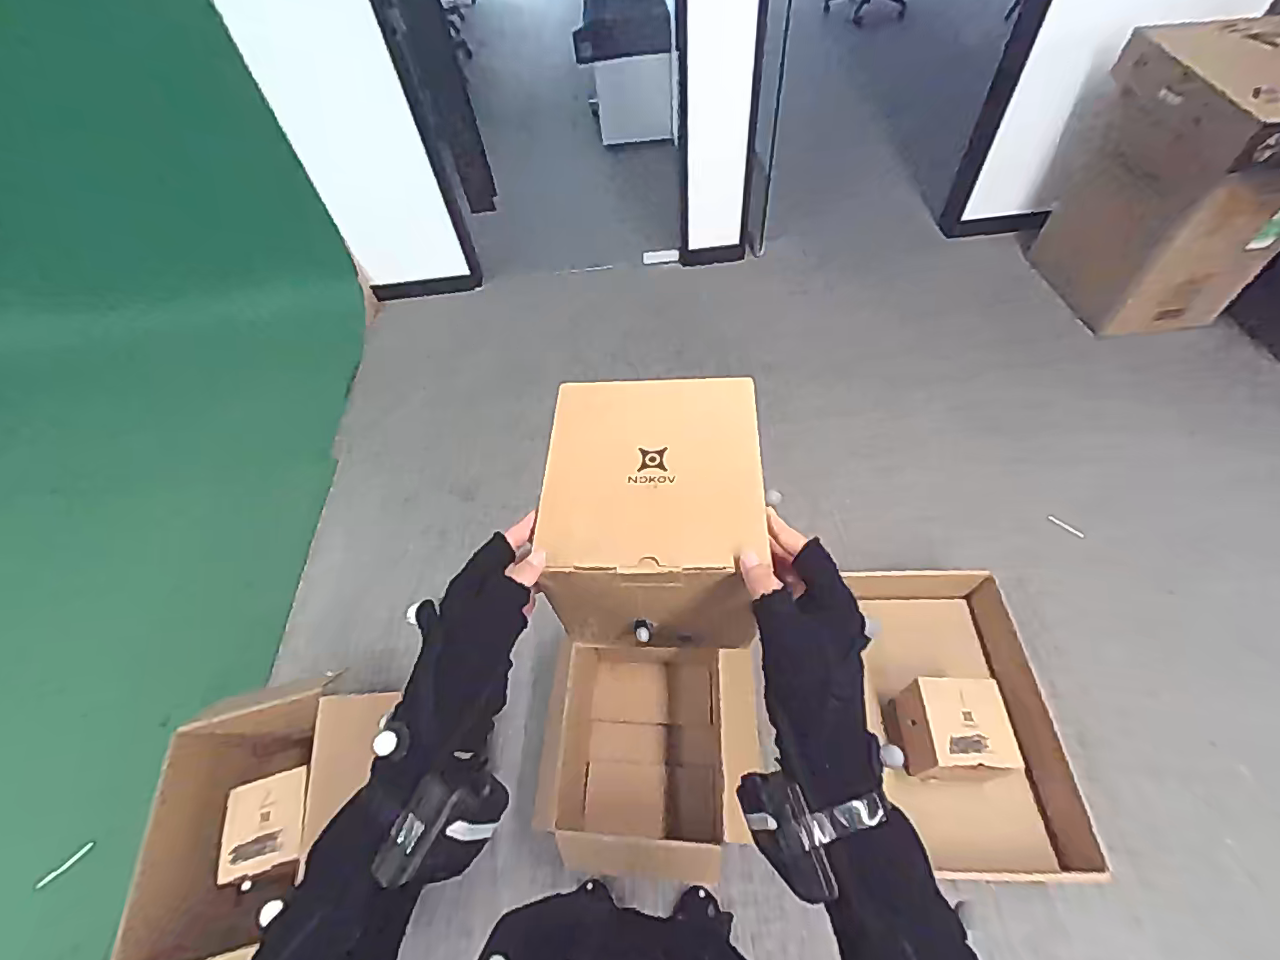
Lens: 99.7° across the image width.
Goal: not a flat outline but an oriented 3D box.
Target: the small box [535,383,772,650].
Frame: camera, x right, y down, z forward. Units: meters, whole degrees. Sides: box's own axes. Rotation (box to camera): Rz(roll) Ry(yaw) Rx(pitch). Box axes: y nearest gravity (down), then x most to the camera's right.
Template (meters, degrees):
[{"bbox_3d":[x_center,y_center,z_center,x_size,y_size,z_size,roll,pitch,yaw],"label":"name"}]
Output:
[{"bbox_3d":[0.018,0.036,0.478,0.168,0.176,0.179,-1,56,6],"label":"small box"}]

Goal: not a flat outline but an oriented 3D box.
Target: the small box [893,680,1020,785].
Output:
[{"bbox_3d":[0.672,0.552,1.173,0.168,0.176,0.179,1,52,5],"label":"small box"}]
